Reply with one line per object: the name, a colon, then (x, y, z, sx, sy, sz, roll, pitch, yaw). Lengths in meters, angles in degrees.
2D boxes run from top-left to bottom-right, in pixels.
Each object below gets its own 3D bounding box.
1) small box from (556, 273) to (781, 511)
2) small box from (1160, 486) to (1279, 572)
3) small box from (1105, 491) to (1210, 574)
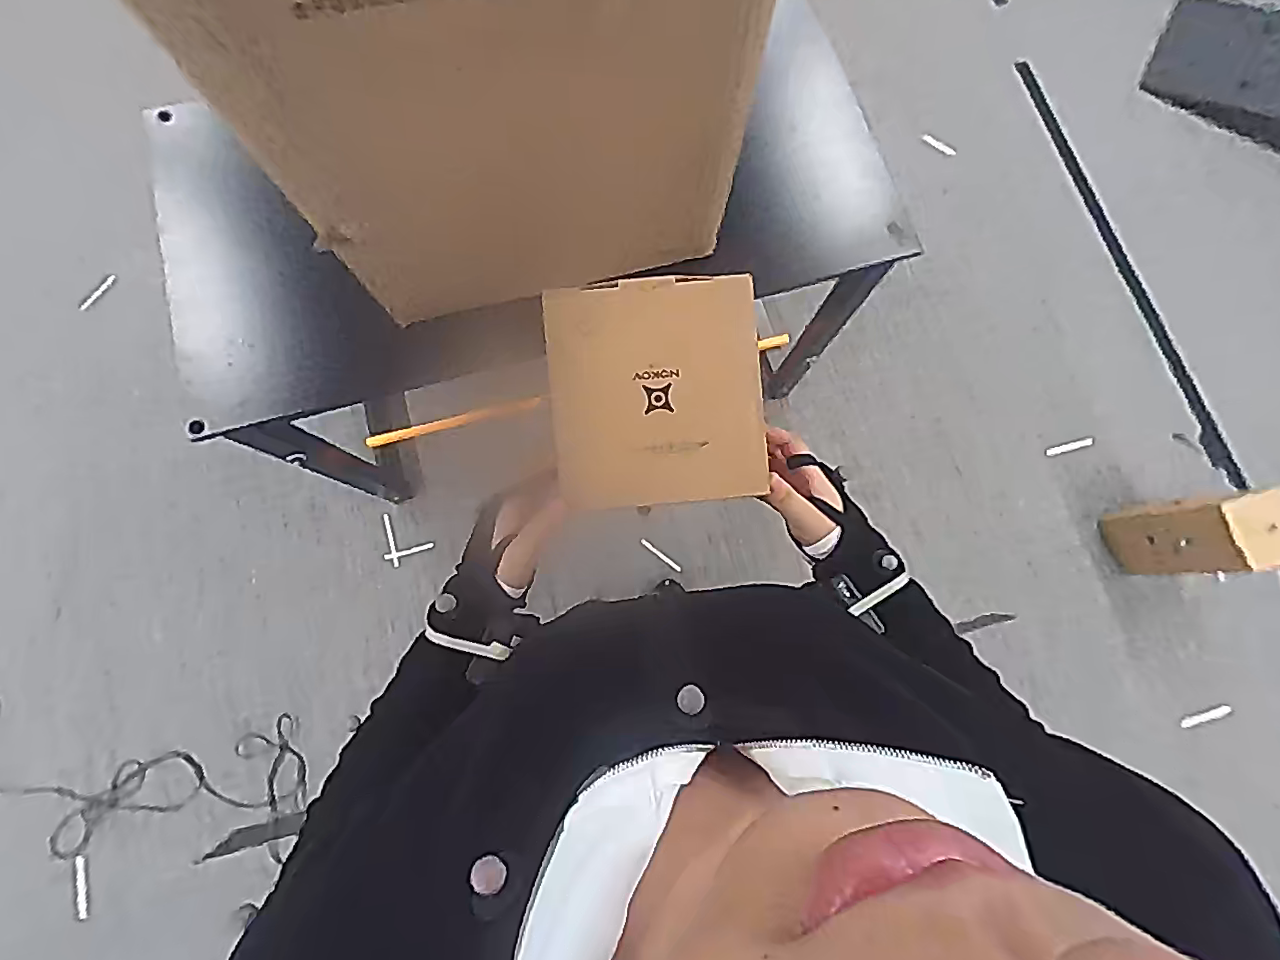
small box: (0.018, -0.069, 0.491, 0.168, 0.176, 0.179, -5, 92, -2)
small box: (1.447, 0.121, 1.316, 0.179, 0.176, 0.168, -15, 79, -4)
small box: (1.441, 0.149, 1.478, 0.168, 0.176, 0.179, -19, 80, -5)
